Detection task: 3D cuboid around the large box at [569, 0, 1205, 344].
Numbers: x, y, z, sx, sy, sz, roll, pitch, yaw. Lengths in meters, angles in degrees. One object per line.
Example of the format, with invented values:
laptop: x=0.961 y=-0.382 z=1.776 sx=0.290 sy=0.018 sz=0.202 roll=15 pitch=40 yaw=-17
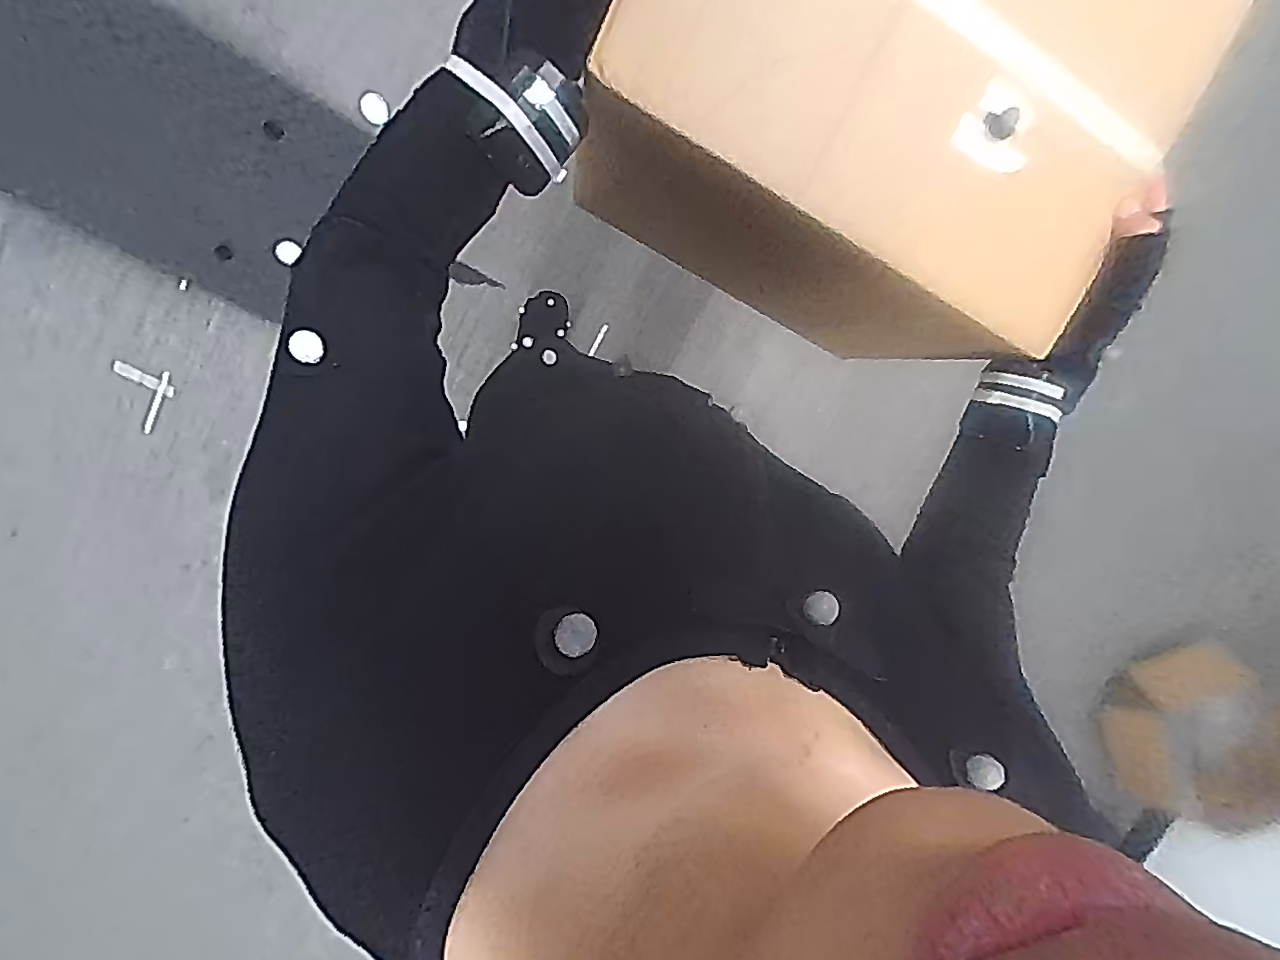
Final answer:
large box: x=0.176 y=-0.360 z=0.524 sx=0.408 sy=0.320 sz=0.320 roll=23 pitch=98 yaw=-14
